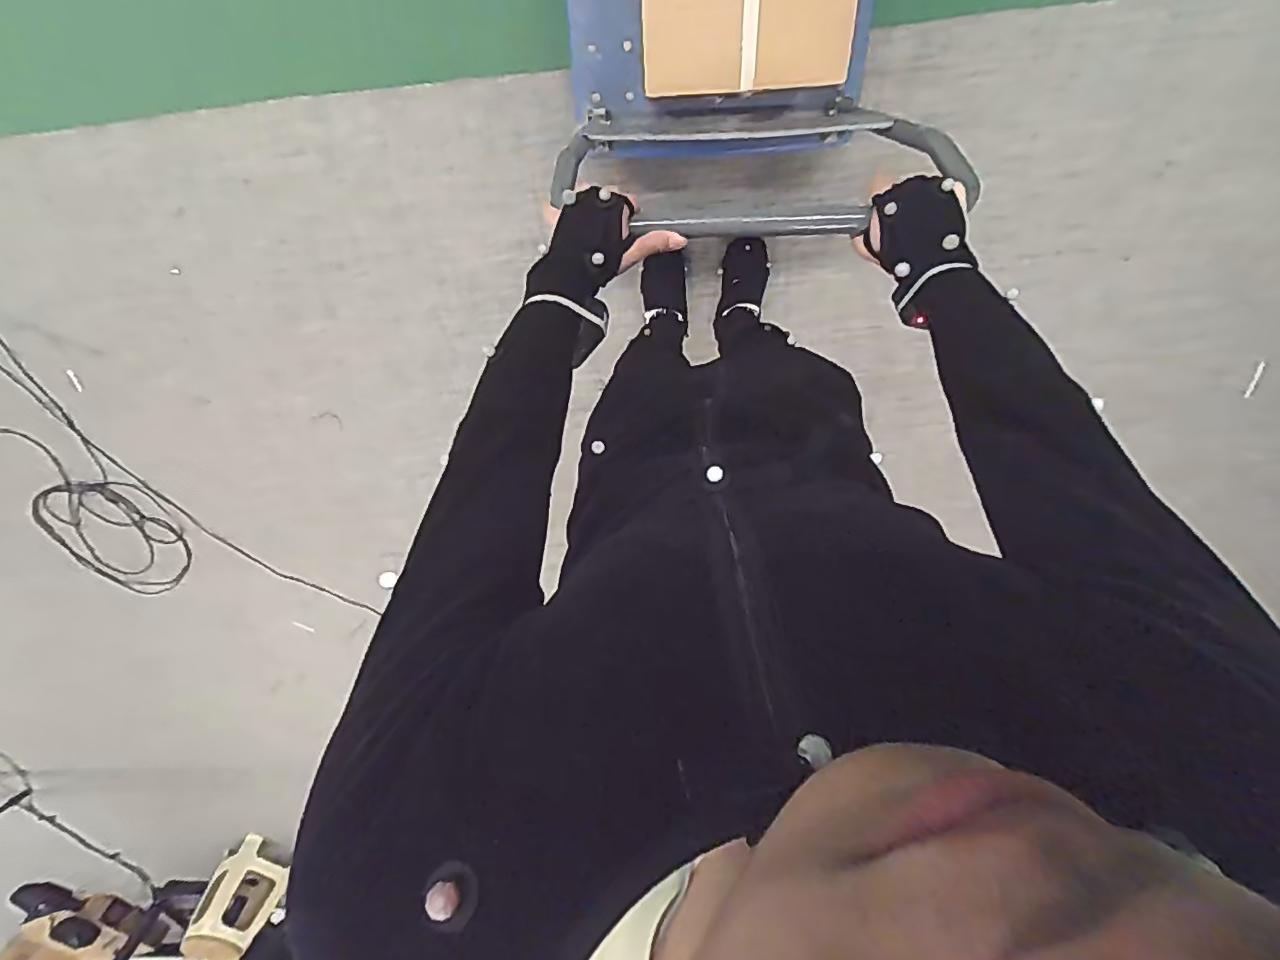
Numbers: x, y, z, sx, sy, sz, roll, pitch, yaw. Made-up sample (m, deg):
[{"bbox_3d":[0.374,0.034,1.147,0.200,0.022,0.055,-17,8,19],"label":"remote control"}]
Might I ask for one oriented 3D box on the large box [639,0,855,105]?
[{"bbox_3d":[0.158,-0.852,0.860,0.320,0.320,0.408,-1,124,3],"label":"large box"}]
